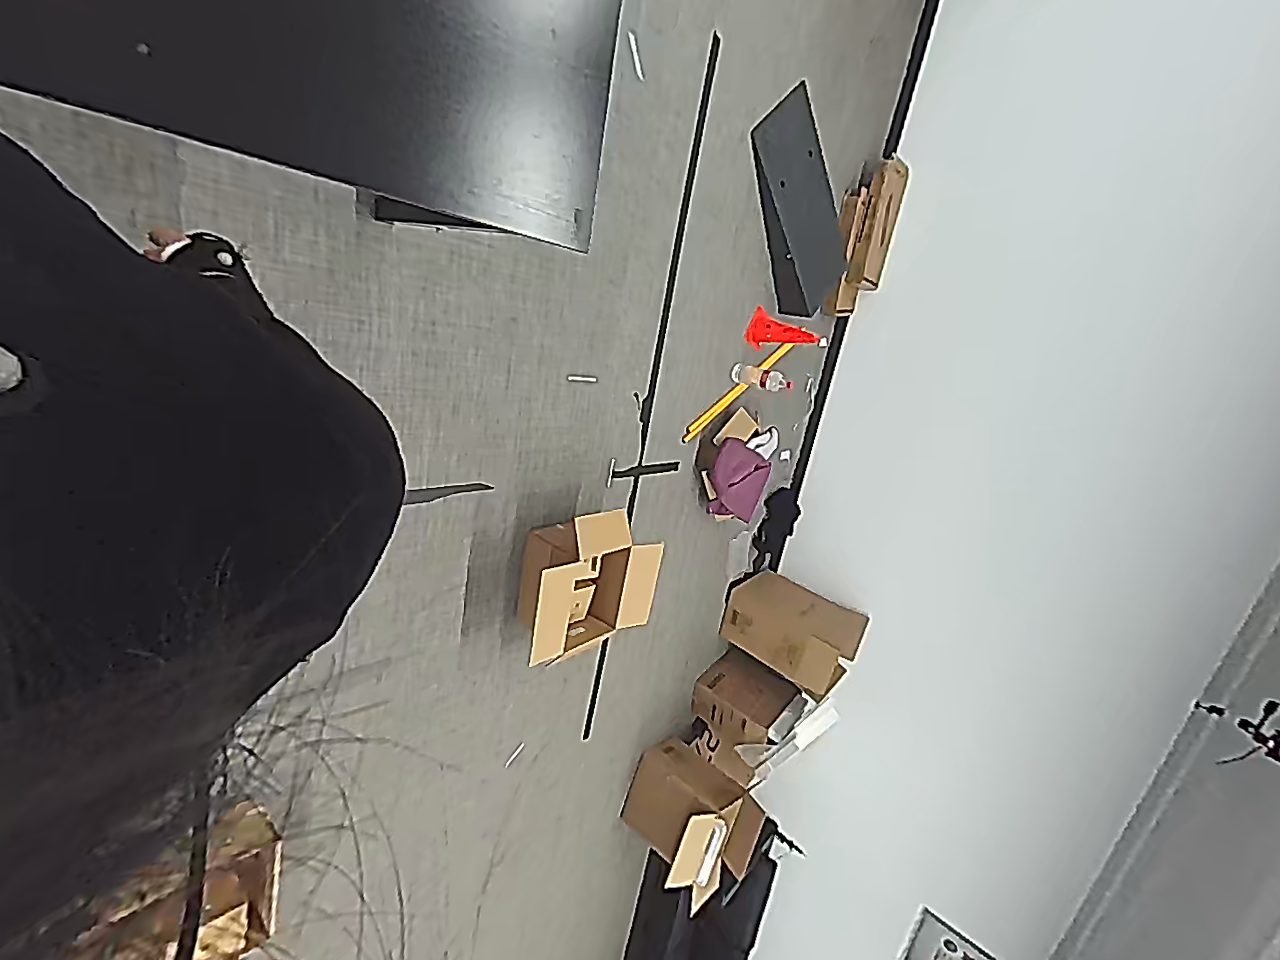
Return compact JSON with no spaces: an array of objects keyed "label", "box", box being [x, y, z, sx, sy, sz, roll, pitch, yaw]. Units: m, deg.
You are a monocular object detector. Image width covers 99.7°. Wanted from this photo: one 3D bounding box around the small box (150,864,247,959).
[{"label":"small box","box":[-1.225,1.225,1.500,0.179,0.176,0.168,-2,108,-50]}]
